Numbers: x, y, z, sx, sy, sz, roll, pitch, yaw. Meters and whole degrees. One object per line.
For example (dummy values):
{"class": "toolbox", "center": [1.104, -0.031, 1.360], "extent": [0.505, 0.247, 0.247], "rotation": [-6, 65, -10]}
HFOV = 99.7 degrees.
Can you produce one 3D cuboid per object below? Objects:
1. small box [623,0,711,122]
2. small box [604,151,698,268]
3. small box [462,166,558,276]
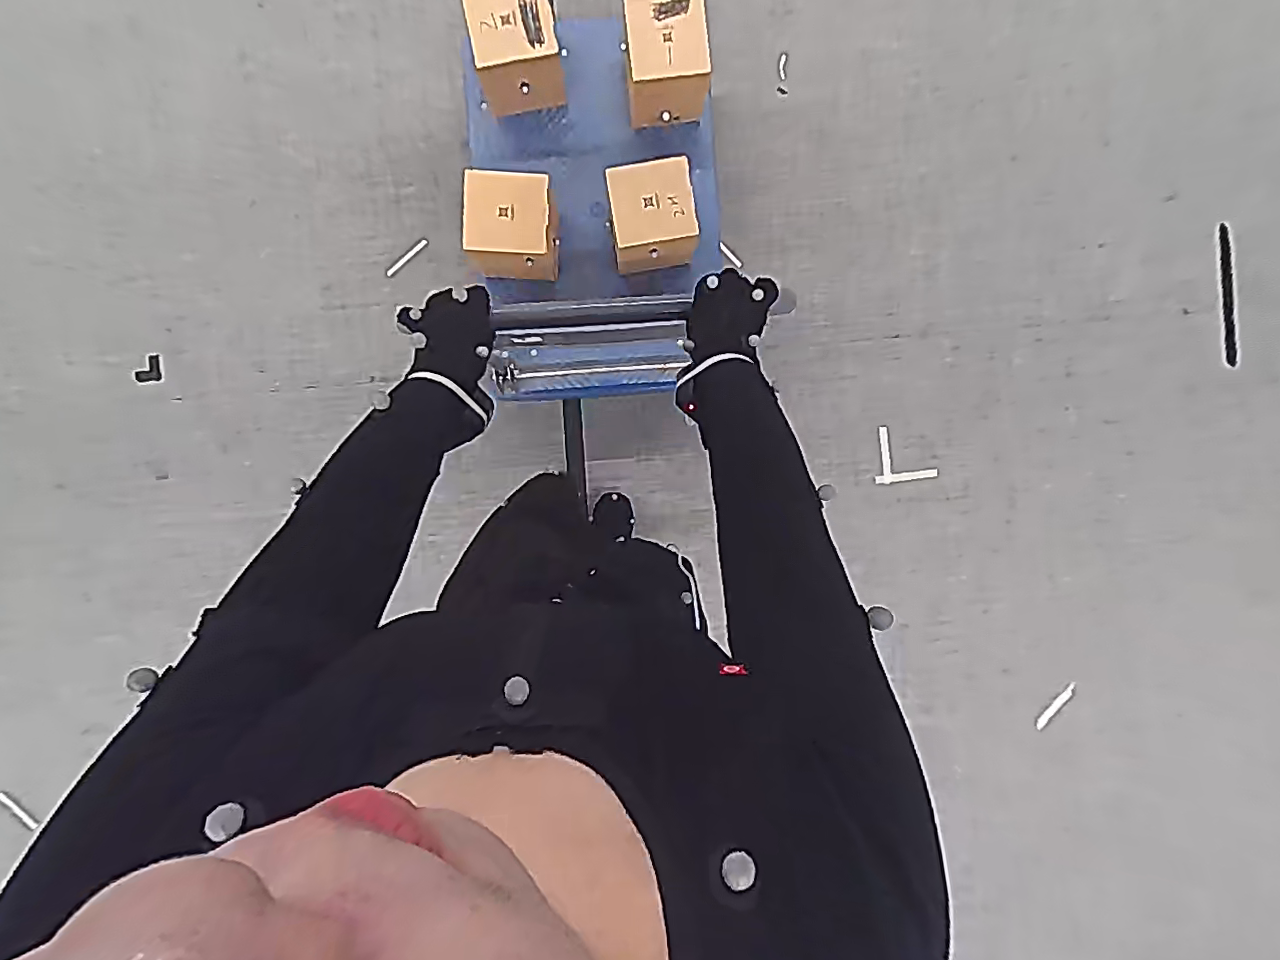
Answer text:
{"class": "small box", "center": [0.053, -0.923, 1.177], "extent": [0.168, 0.176, 0.179], "rotation": [-7, 94, 0]}
{"class": "small box", "center": [0.024, -0.586, 1.193], "extent": [0.179, 0.176, 0.168], "rotation": [-10, 93, 0]}
{"class": "small box", "center": [-0.280, -0.561, 1.190], "extent": [0.179, 0.176, 0.168], "rotation": [2, 92, -3]}
